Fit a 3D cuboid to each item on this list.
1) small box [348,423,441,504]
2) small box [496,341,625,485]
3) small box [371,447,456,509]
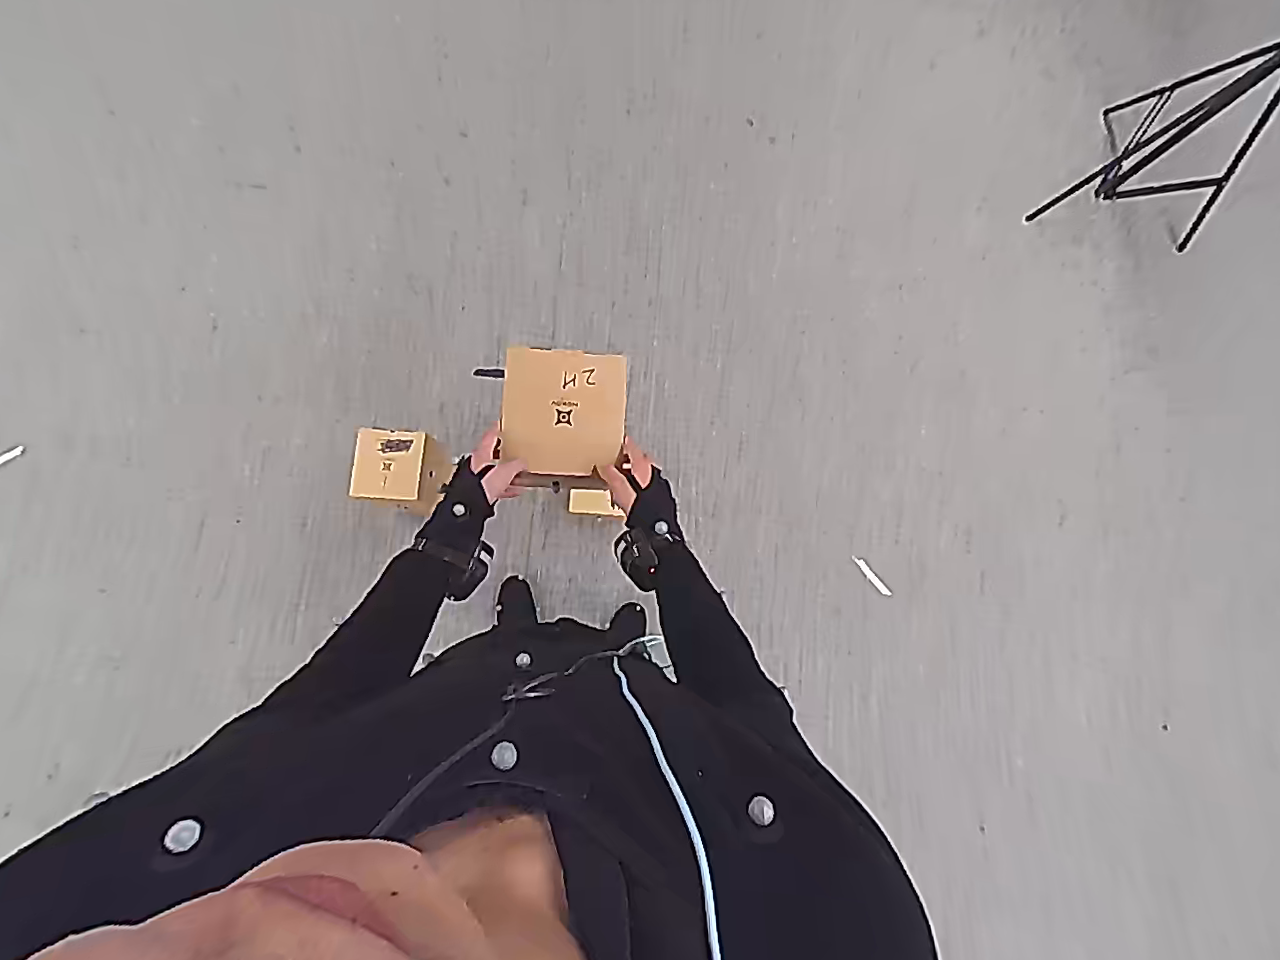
[{"bbox_3d":[-0.628,-0.037,1.406,0.168,0.176,0.179,4,81,-3],"label":"small box"},{"bbox_3d":[-0.118,-0.088,0.807,0.168,0.176,0.179,3,83,-10],"label":"small box"},{"bbox_3d":[-0.646,-0.008,1.567,0.179,0.176,0.168,4,81,-3],"label":"small box"}]
